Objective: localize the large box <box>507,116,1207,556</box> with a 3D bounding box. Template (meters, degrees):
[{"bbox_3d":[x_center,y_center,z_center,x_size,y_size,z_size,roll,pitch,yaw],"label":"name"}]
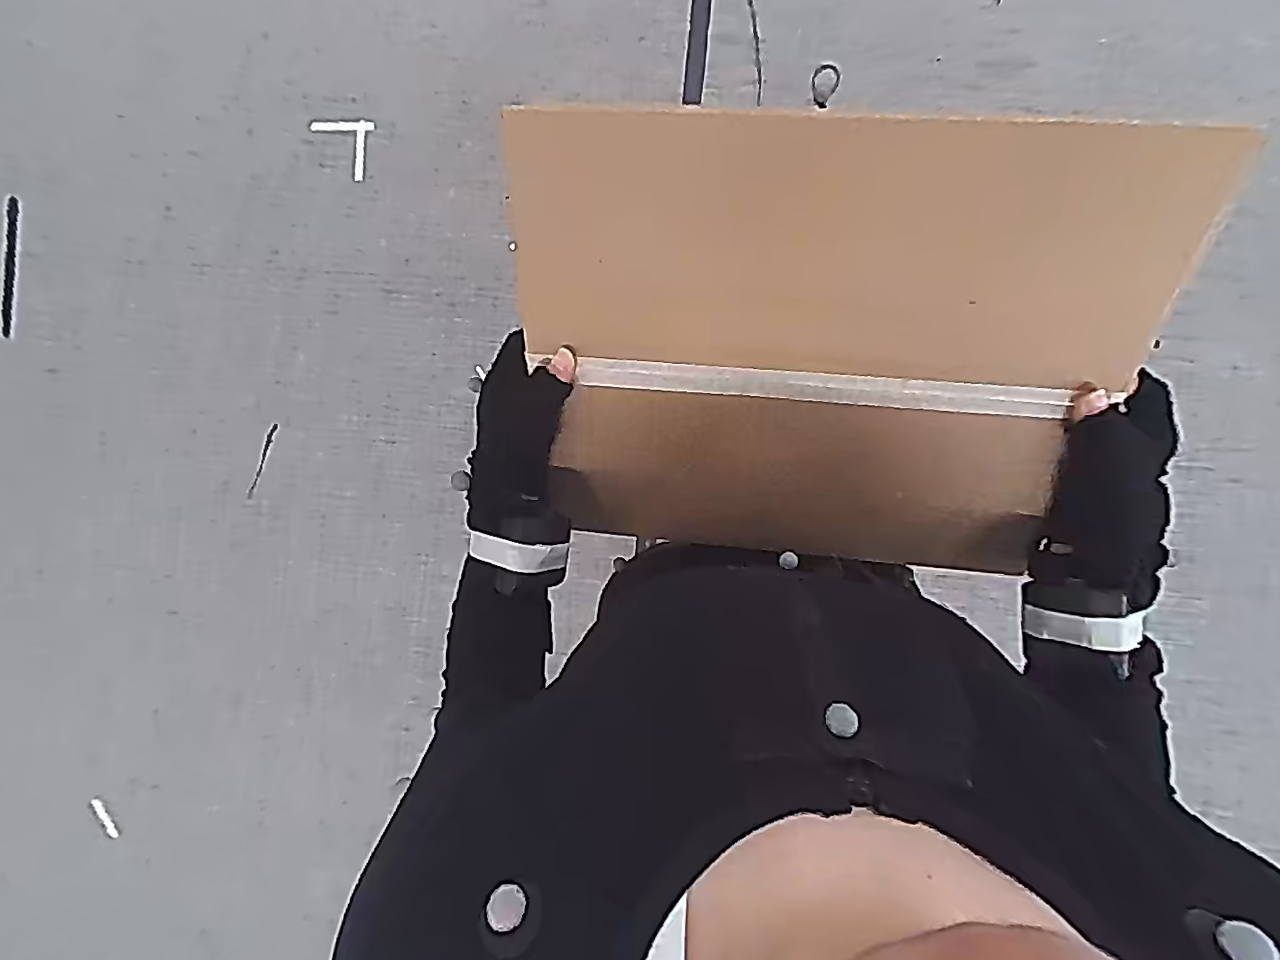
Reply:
[{"bbox_3d":[0.133,-0.157,0.518,0.408,0.320,0.320,5,125,6],"label":"large box"}]
